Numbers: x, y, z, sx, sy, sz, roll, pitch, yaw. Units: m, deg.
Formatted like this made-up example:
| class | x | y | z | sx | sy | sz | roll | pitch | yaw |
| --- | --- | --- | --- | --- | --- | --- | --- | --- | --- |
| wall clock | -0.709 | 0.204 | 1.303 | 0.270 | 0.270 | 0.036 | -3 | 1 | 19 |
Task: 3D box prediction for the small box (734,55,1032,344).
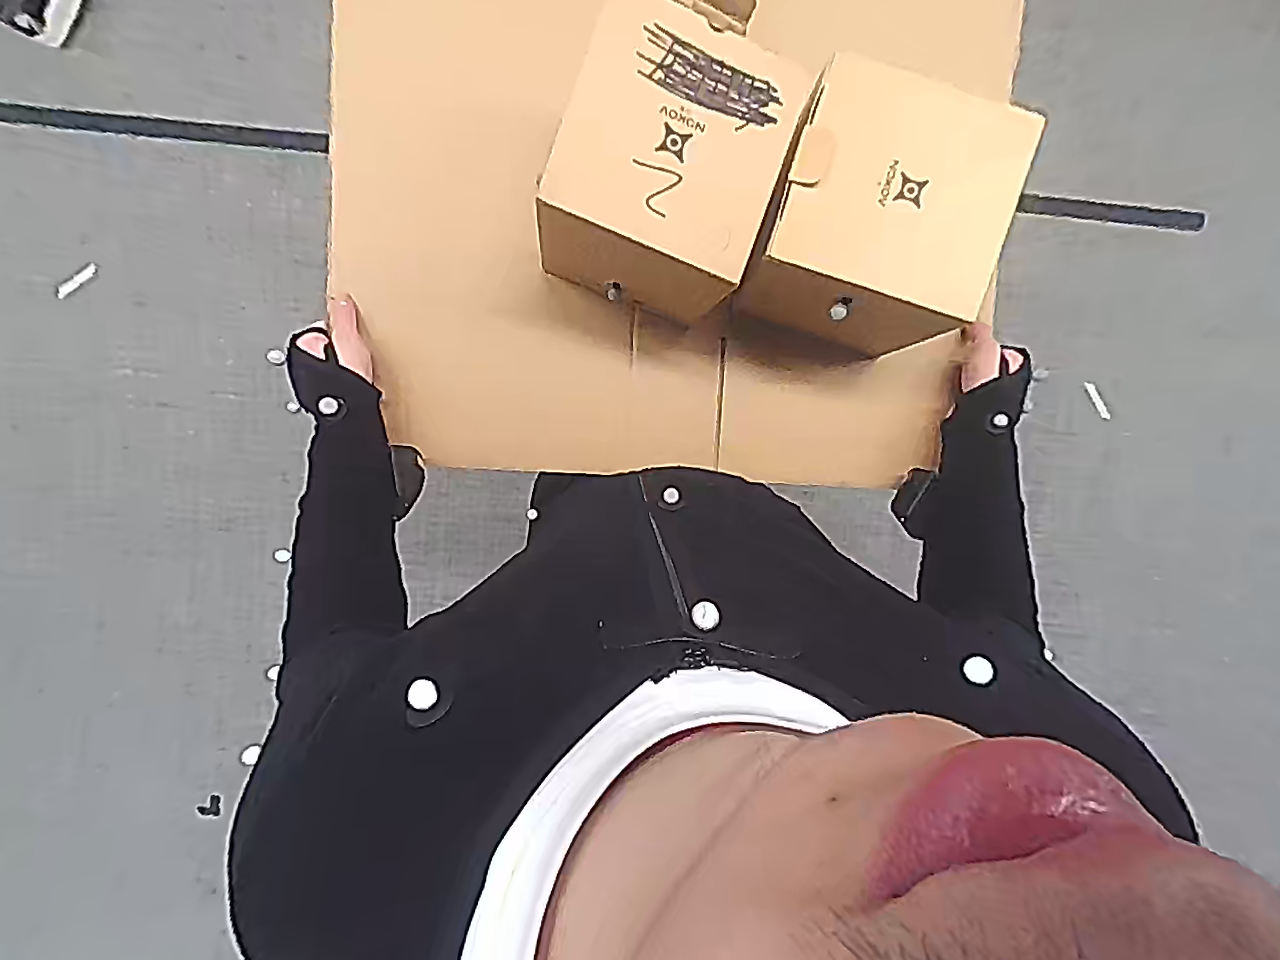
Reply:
| class | x | y | z | sx | sy | sz | roll | pitch | yaw |
| --- | --- | --- | --- | --- | --- | --- | --- | --- | --- |
| small box | 0.206 | -0.239 | 0.512 | 0.179 | 0.176 | 0.168 | 18 | 93 | -1 |
